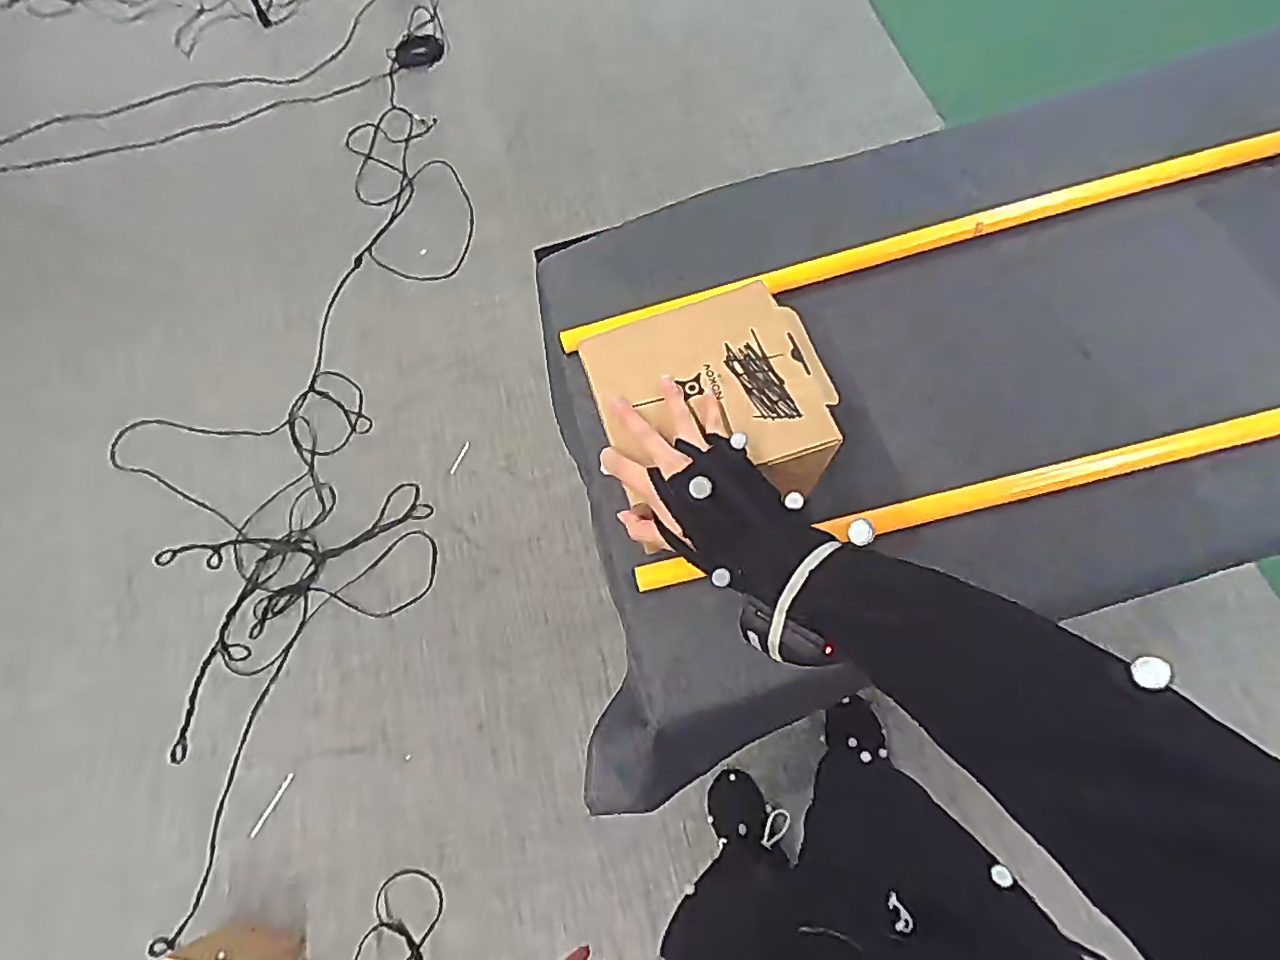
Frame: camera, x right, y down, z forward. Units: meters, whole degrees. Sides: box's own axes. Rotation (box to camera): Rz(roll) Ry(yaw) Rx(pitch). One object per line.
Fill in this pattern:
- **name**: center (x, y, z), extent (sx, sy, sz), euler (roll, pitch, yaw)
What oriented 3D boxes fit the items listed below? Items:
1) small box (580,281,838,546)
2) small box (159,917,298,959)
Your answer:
- **small box**: center (0.058, -0.052, 0.522), extent (0.179, 0.176, 0.168), euler (-18, 68, -1)
- **small box**: center (-0.789, 0.971, 1.014), extent (0.168, 0.176, 0.179), euler (5, 70, 8)
